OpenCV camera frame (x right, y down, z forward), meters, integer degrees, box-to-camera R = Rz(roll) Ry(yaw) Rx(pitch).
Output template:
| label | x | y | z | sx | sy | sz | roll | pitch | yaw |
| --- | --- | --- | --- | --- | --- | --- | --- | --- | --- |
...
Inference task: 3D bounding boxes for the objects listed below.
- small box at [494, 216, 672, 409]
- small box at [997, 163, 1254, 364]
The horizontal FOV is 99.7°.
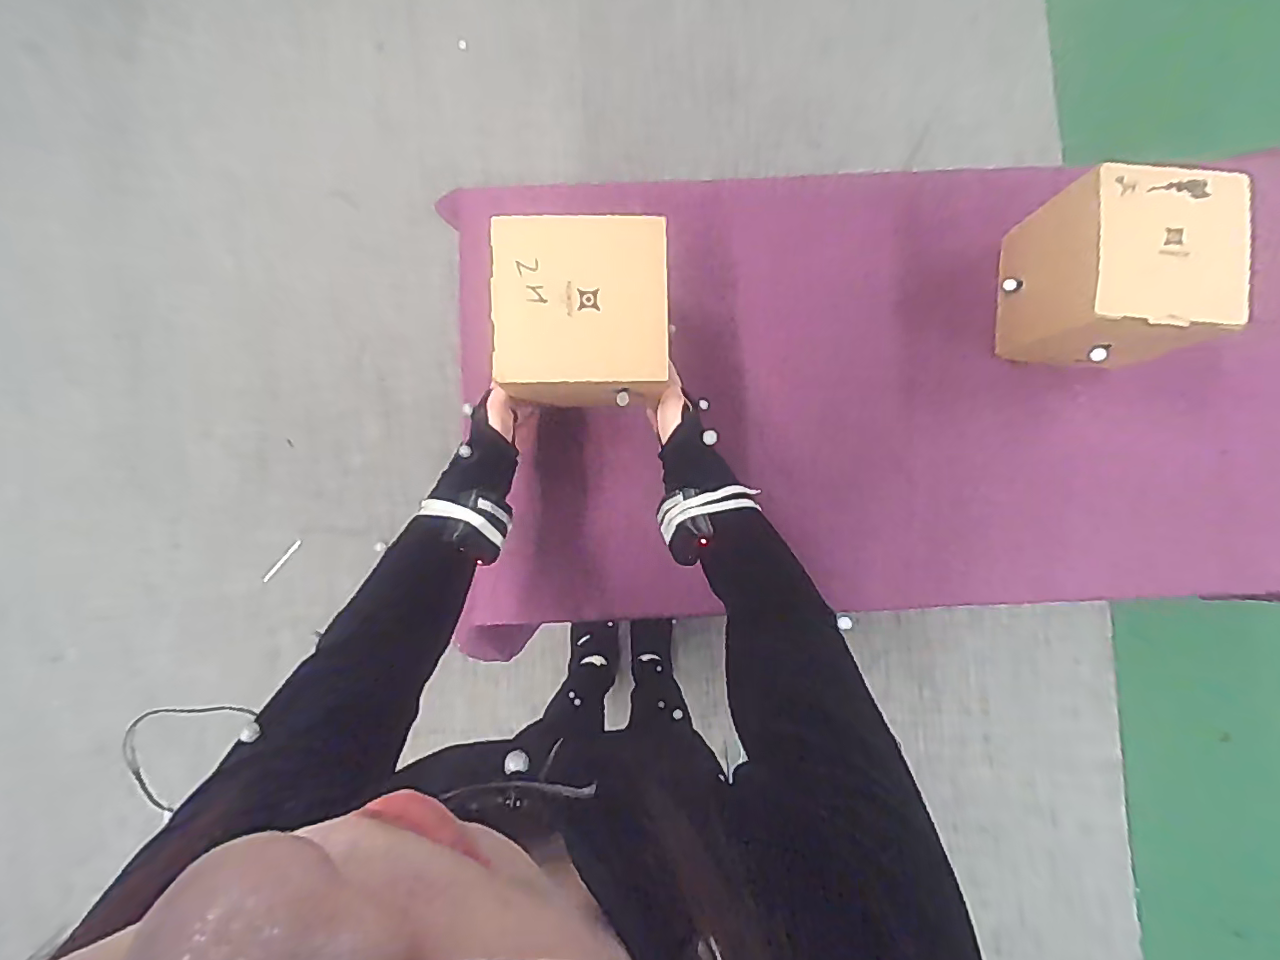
| label | x | y | z | sx | sy | sz | roll | pitch | yaw |
| --- | --- | --- | --- | --- | --- | --- | --- | --- | --- |
| small box | -0.058 | -0.176 | 0.611 | 0.179 | 0.176 | 0.168 | 0 | 89 | -1 |
| small box | 0.575 | -0.250 | 0.665 | 0.168 | 0.176 | 0.179 | 5 | 88 | 0 |
